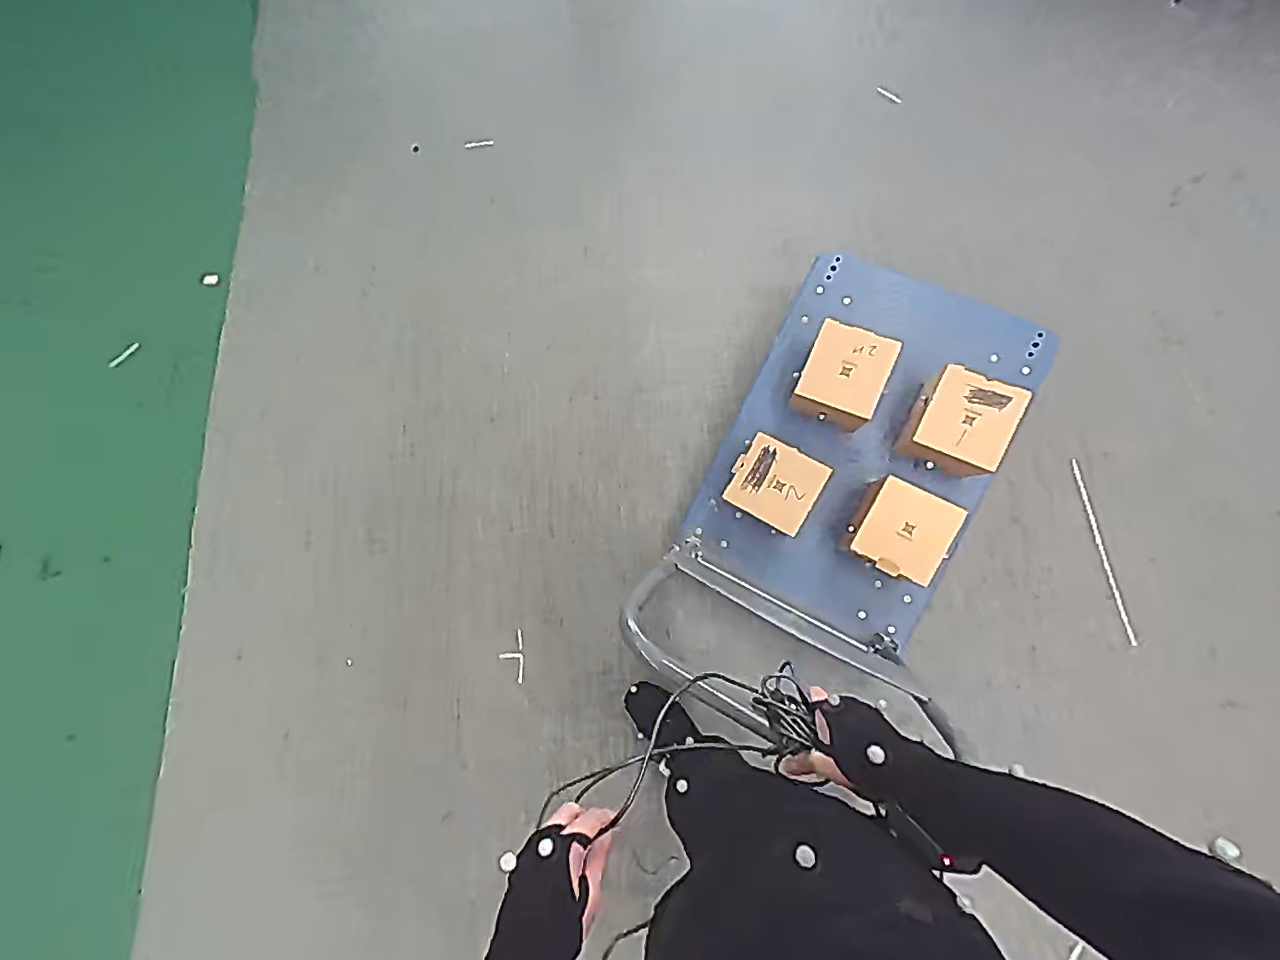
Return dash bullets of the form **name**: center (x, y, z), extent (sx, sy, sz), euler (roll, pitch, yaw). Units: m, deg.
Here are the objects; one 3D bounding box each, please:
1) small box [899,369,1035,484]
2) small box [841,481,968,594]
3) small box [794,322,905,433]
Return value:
- **small box**: center (0.678, -0.106, 1.148), extent (0.168, 0.176, 0.179), euler (26, 91, 13)
- **small box**: center (0.552, 0.118, 1.159), extent (0.168, 0.176, 0.179), euler (29, 93, 12)
- **small box**: center (0.454, -0.218, 1.202), extent (0.168, 0.176, 0.179), euler (24, 91, 12)
